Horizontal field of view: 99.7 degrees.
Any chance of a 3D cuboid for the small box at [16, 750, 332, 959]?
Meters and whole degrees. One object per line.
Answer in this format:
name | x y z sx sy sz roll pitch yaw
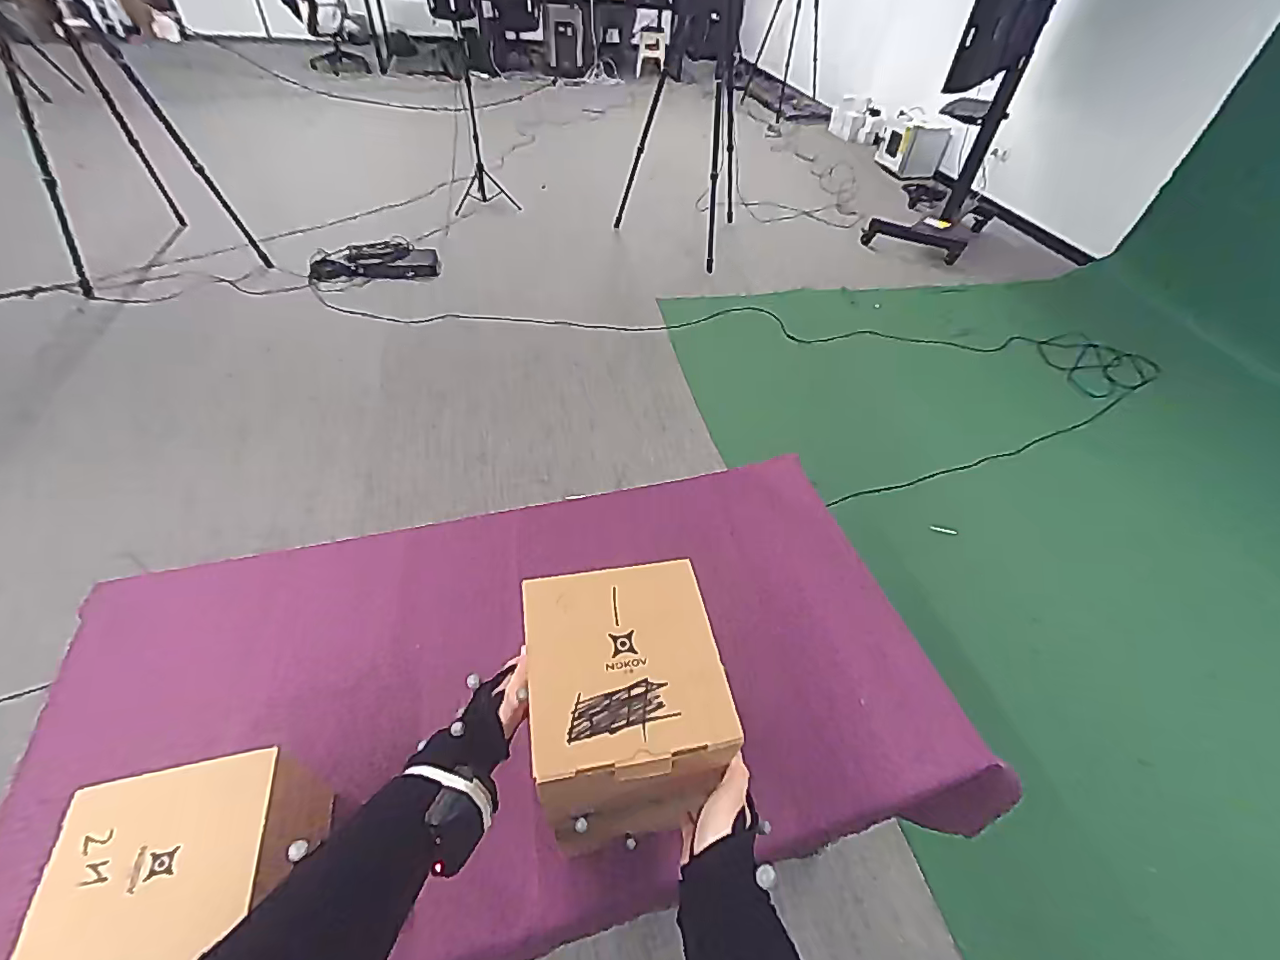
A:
small box | -0.435 0.398 0.541 0.179 0.176 0.168 -8 47 -12
